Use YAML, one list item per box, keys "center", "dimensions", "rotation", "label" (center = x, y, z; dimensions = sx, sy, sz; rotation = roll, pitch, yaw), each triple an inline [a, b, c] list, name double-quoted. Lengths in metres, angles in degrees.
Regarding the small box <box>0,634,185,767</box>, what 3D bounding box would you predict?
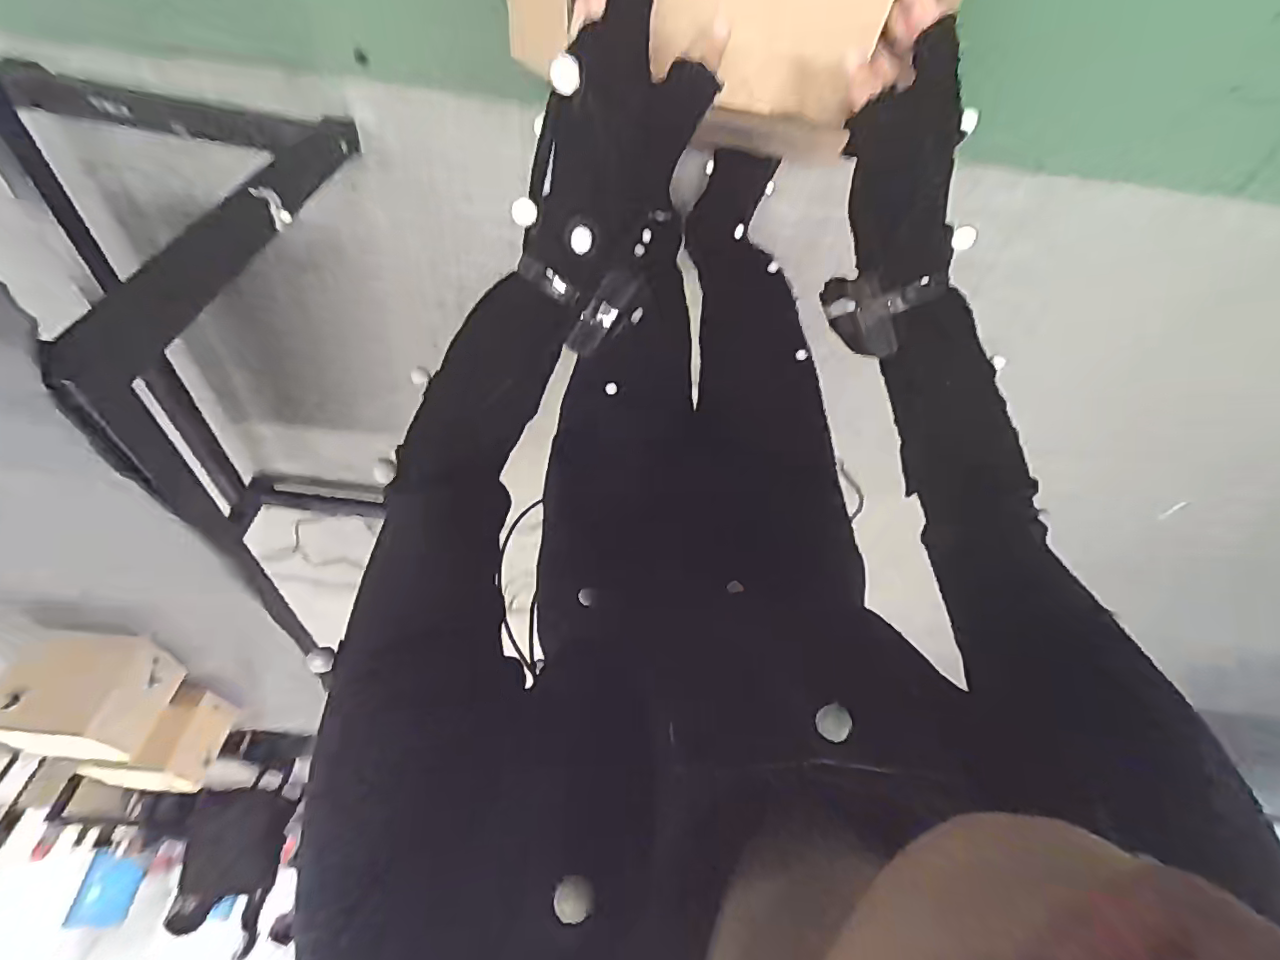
- center: [-0.968, 0.386, 0.949]
  dimensions: [0.179, 0.176, 0.168]
  rotation: [8, 139, -7]
  label: "small box"
